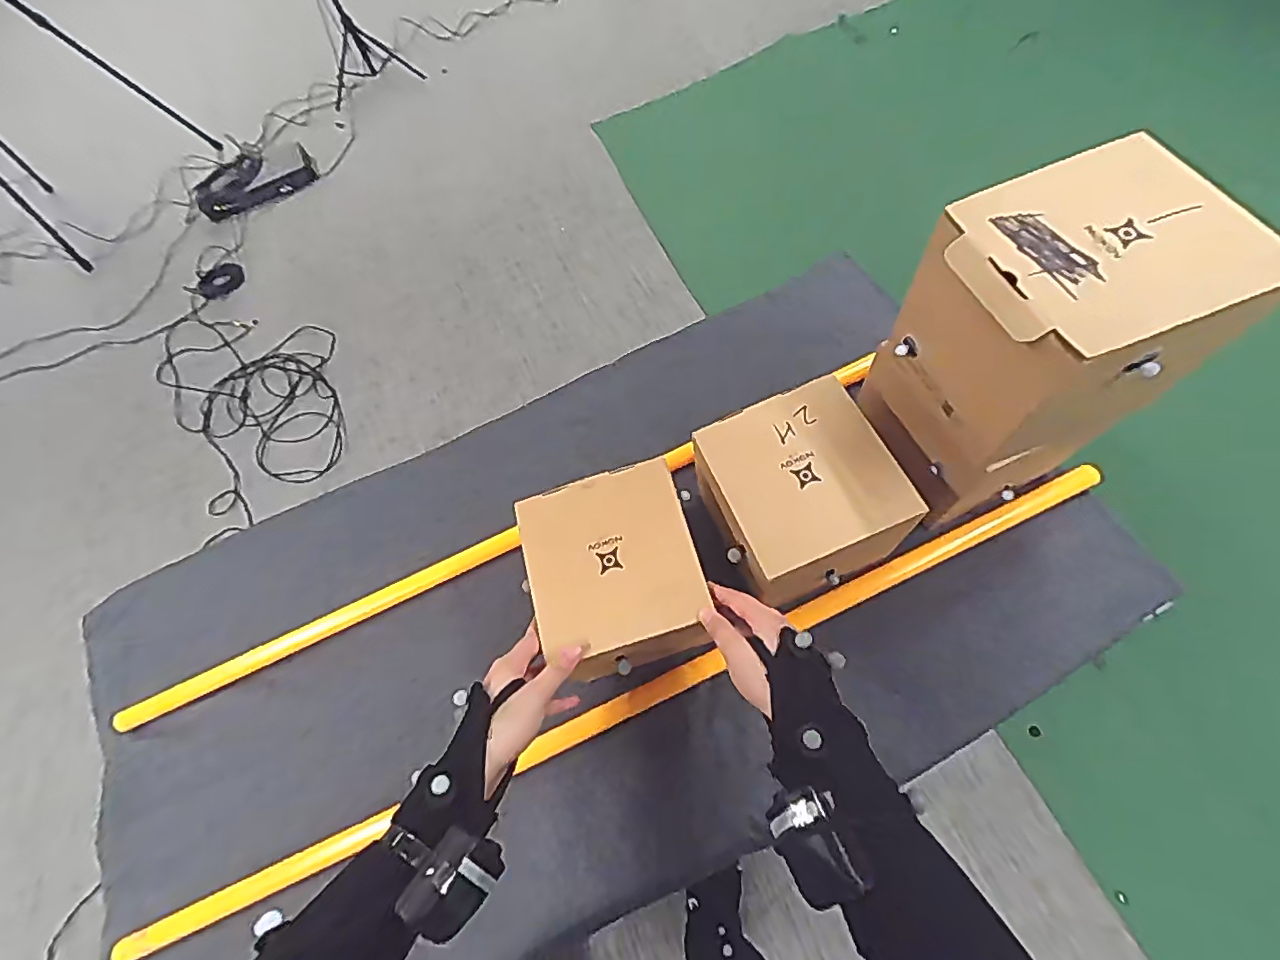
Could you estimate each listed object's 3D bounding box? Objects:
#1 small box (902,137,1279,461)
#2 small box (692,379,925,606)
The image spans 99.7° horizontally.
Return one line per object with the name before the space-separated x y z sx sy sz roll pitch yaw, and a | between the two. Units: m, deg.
small box | 0.353 -0.140 0.464 0.179 0.176 0.168 -21 65 -1
small box | 0.171 0.027 0.599 0.168 0.176 0.179 -23 65 0
